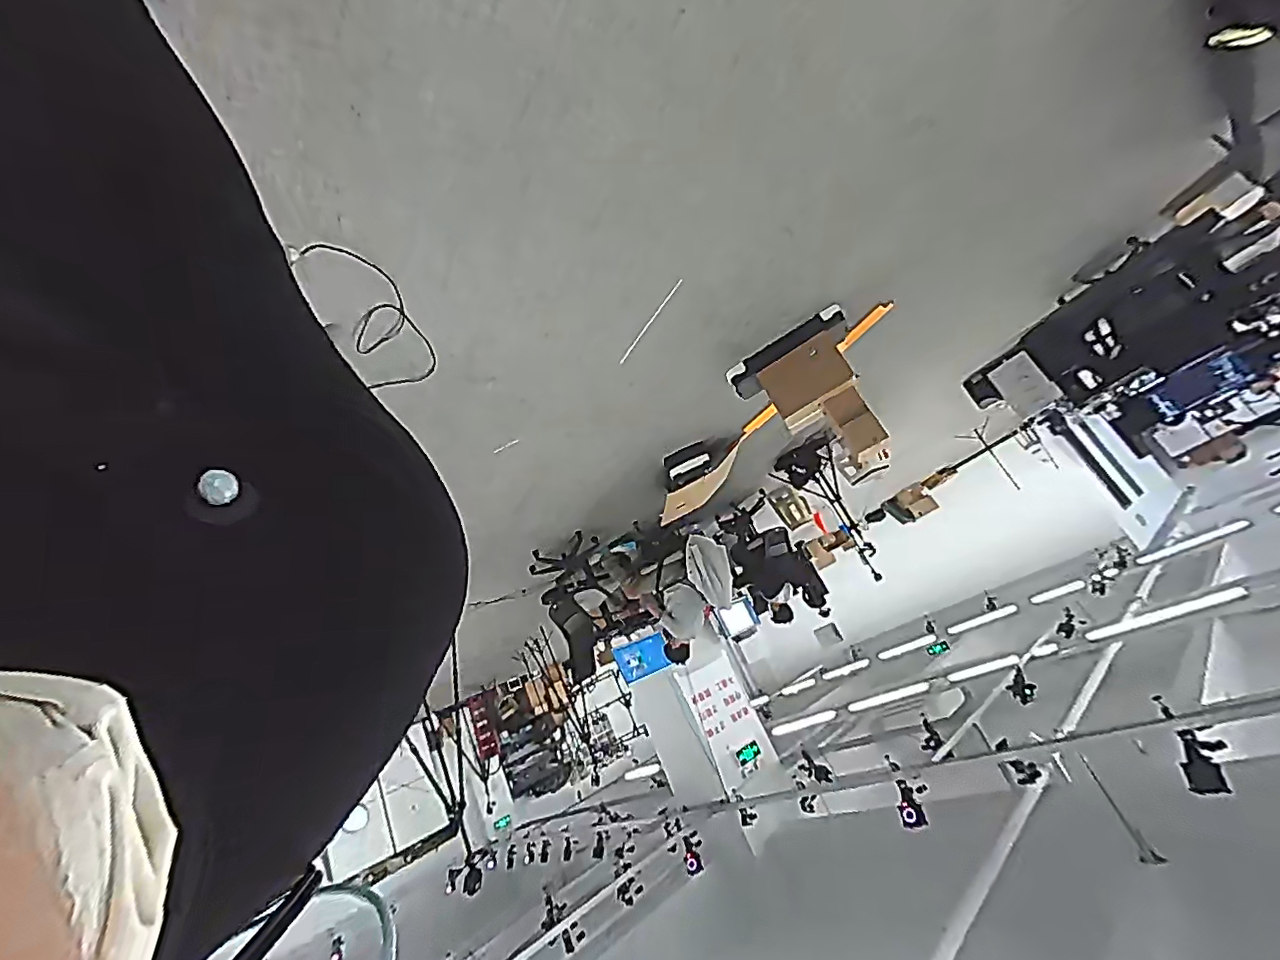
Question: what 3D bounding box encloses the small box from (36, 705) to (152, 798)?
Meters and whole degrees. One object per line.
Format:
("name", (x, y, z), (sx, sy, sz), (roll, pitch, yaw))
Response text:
("small box", (-1.470, 0.727, 1.458), (0.168, 0.176, 0.179), (-17, 159, -23))
